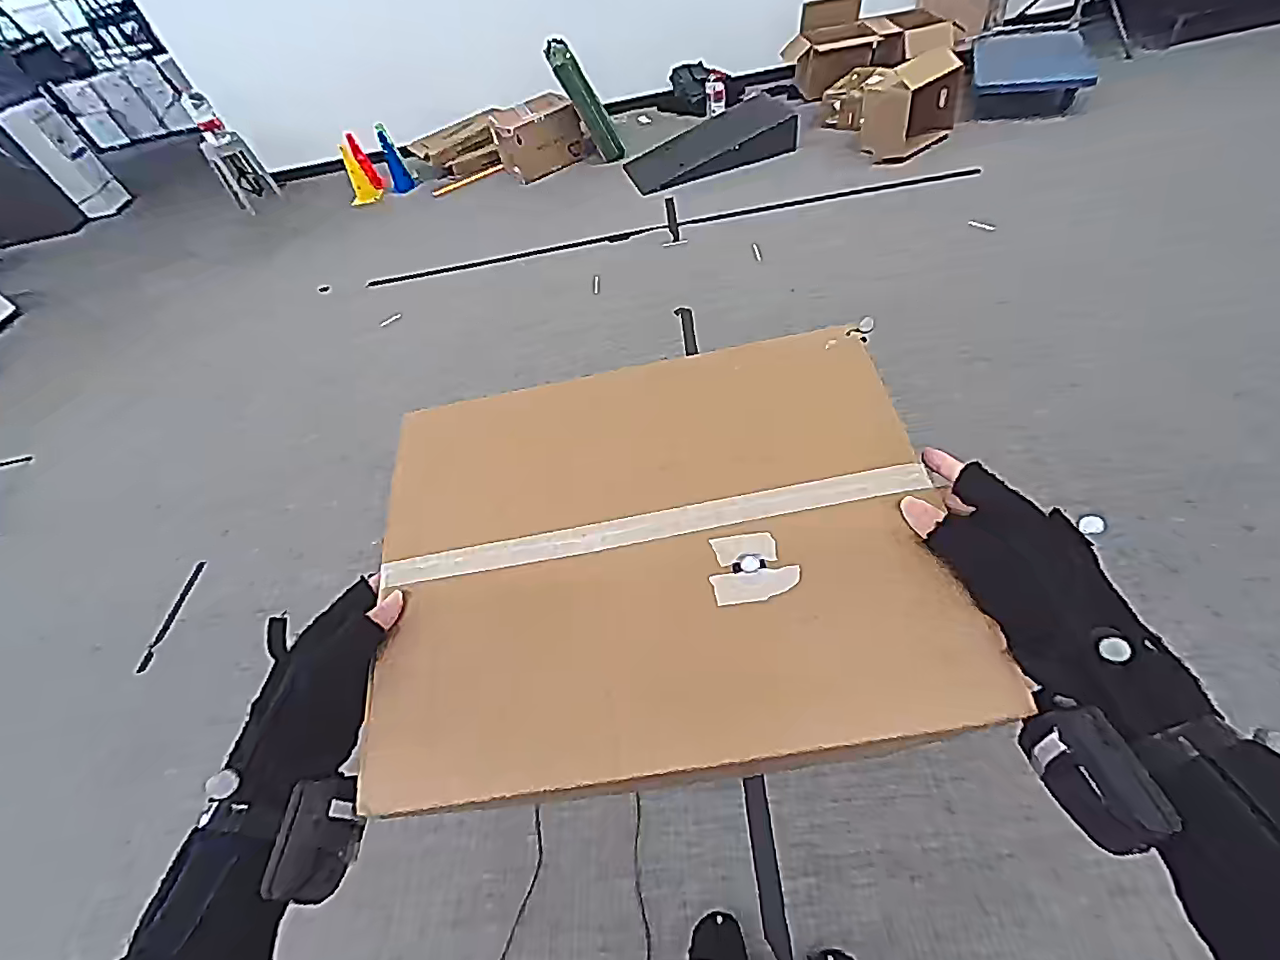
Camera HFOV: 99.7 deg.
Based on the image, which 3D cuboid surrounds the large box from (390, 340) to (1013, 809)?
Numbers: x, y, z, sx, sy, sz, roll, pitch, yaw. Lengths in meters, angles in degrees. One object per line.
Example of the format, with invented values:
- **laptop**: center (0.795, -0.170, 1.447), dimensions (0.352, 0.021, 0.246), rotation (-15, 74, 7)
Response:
- **large box**: center (0.032, 0.116, 0.537), dimensions (0.408, 0.320, 0.320), rotation (-11, 59, 3)
